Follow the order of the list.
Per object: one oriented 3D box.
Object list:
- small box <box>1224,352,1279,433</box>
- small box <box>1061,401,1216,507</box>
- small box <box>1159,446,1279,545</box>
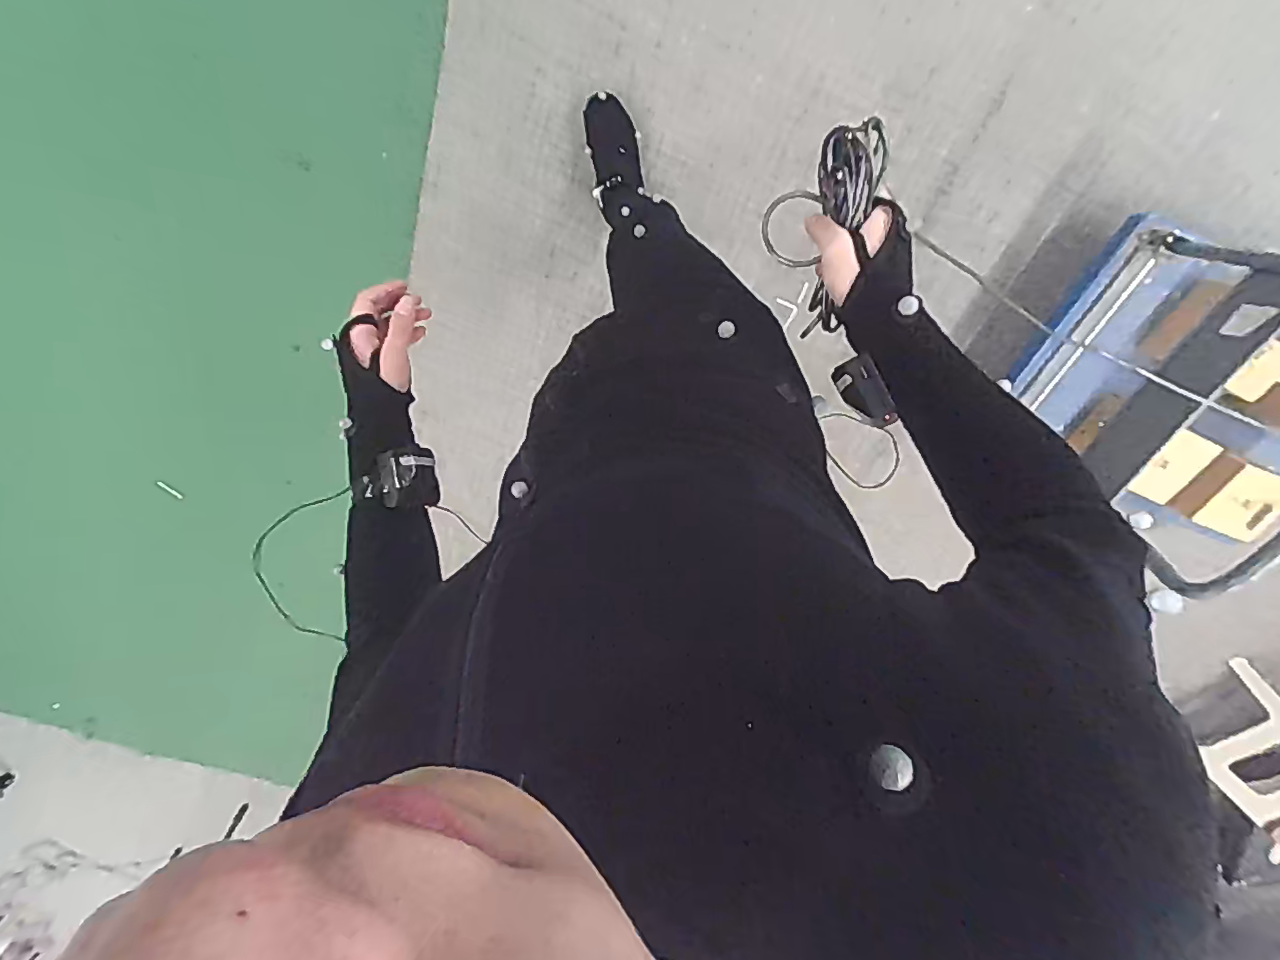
[{"bbox_3d":[1.508,-0.180,1.215,0.179,0.176,0.168,17,120,-6],"label":"small box"},{"bbox_3d":[1.185,-0.069,1.302,0.179,0.176,0.168,22,119,-8],"label":"small box"},{"bbox_3d":[1.420,0.027,1.339,0.179,0.176,0.168,19,118,-6],"label":"small box"}]
